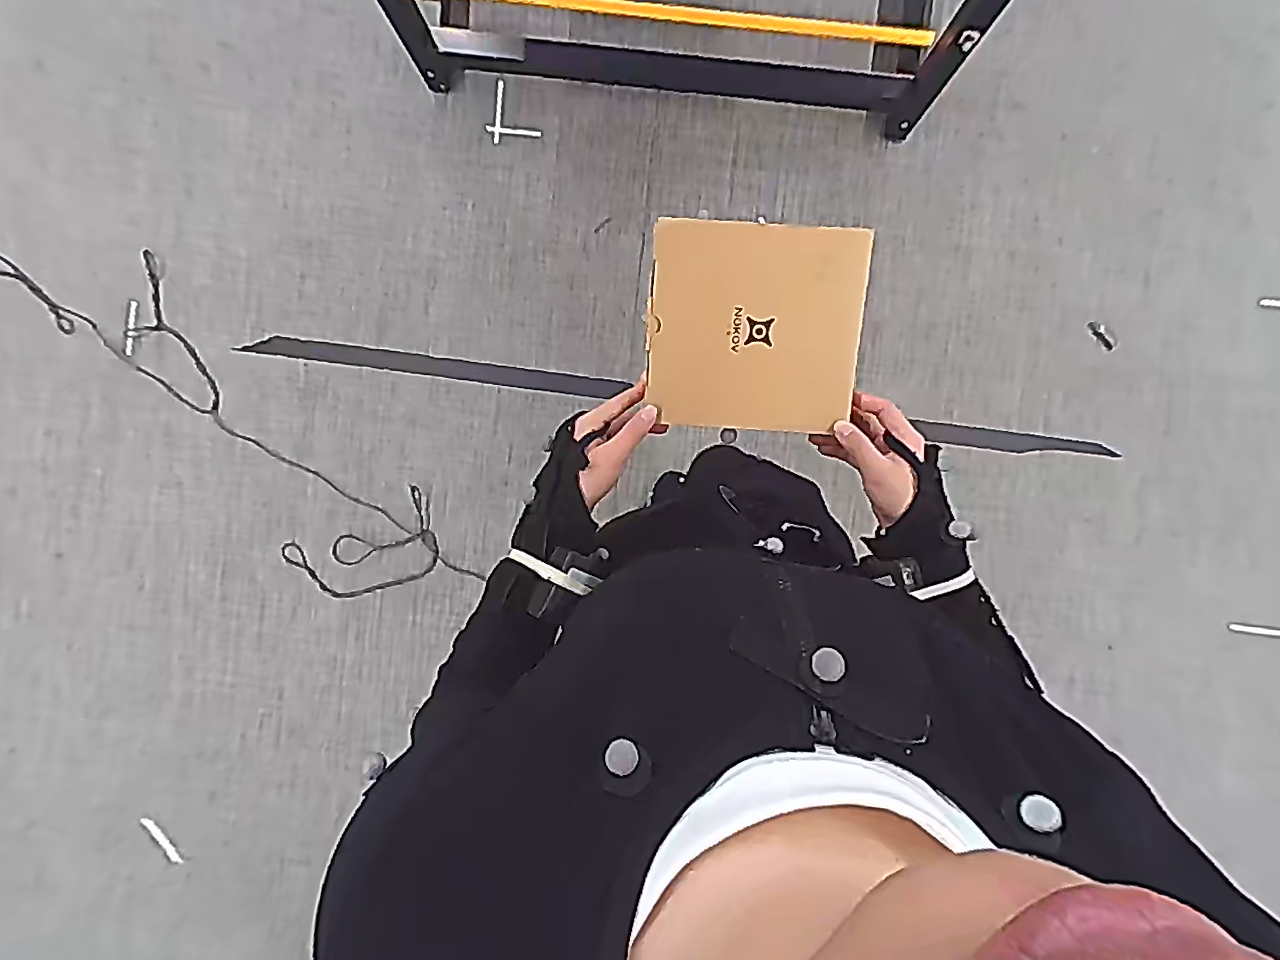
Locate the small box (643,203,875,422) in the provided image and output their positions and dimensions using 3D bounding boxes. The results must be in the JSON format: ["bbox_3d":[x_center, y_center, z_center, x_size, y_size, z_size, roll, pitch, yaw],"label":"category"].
[{"bbox_3d":[0.097,-0.150,0.518,0.179,0.176,0.168,3,101,3],"label":"small box"}]
